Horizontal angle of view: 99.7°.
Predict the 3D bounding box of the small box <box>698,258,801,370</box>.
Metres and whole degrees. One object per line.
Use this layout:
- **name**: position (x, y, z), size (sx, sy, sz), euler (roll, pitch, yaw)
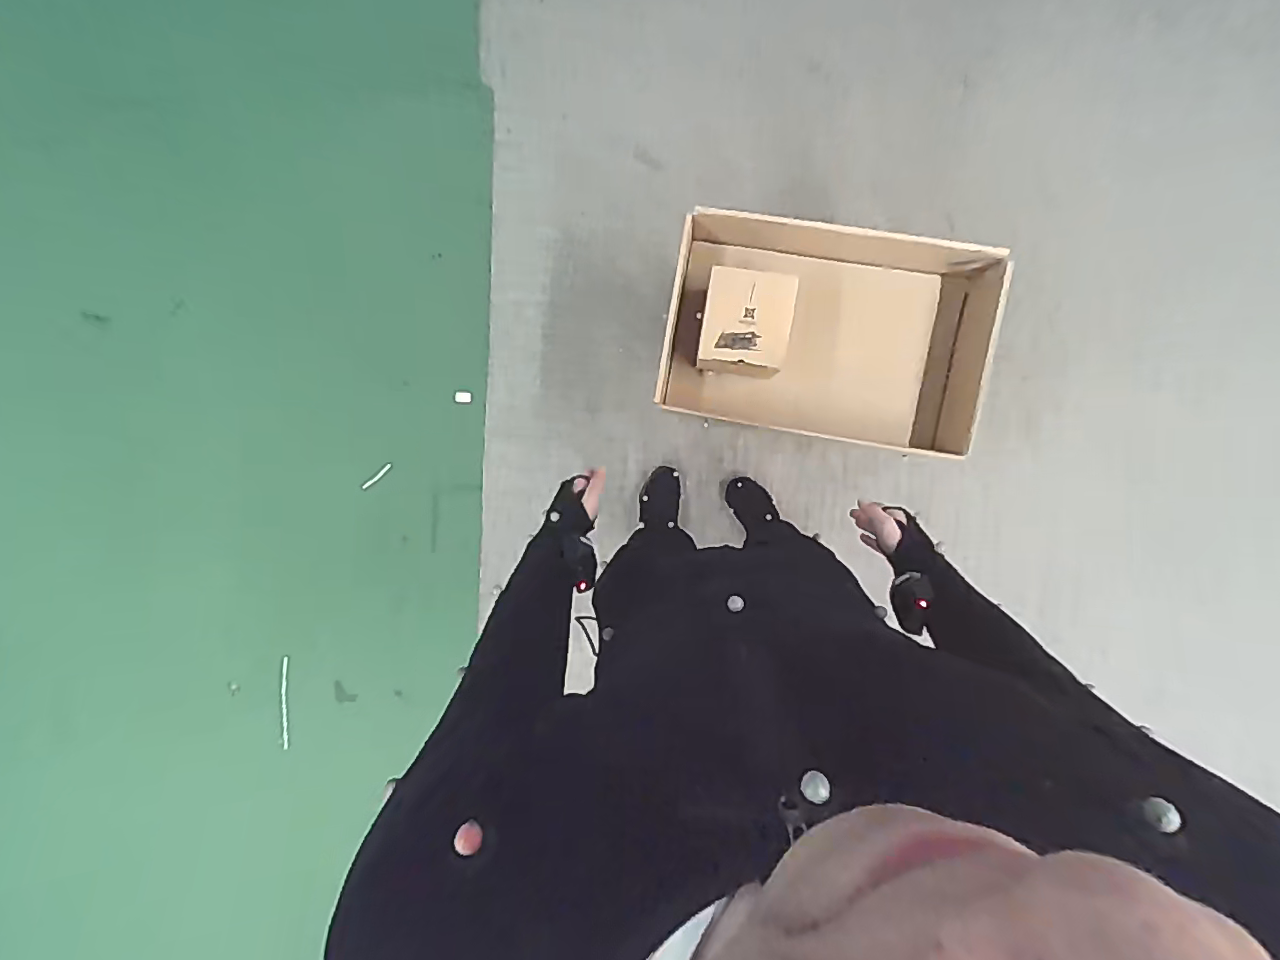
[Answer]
- **small box**: position (0.214, -0.325, 1.095), size (0.168, 0.176, 0.179), euler (10, 95, 5)
